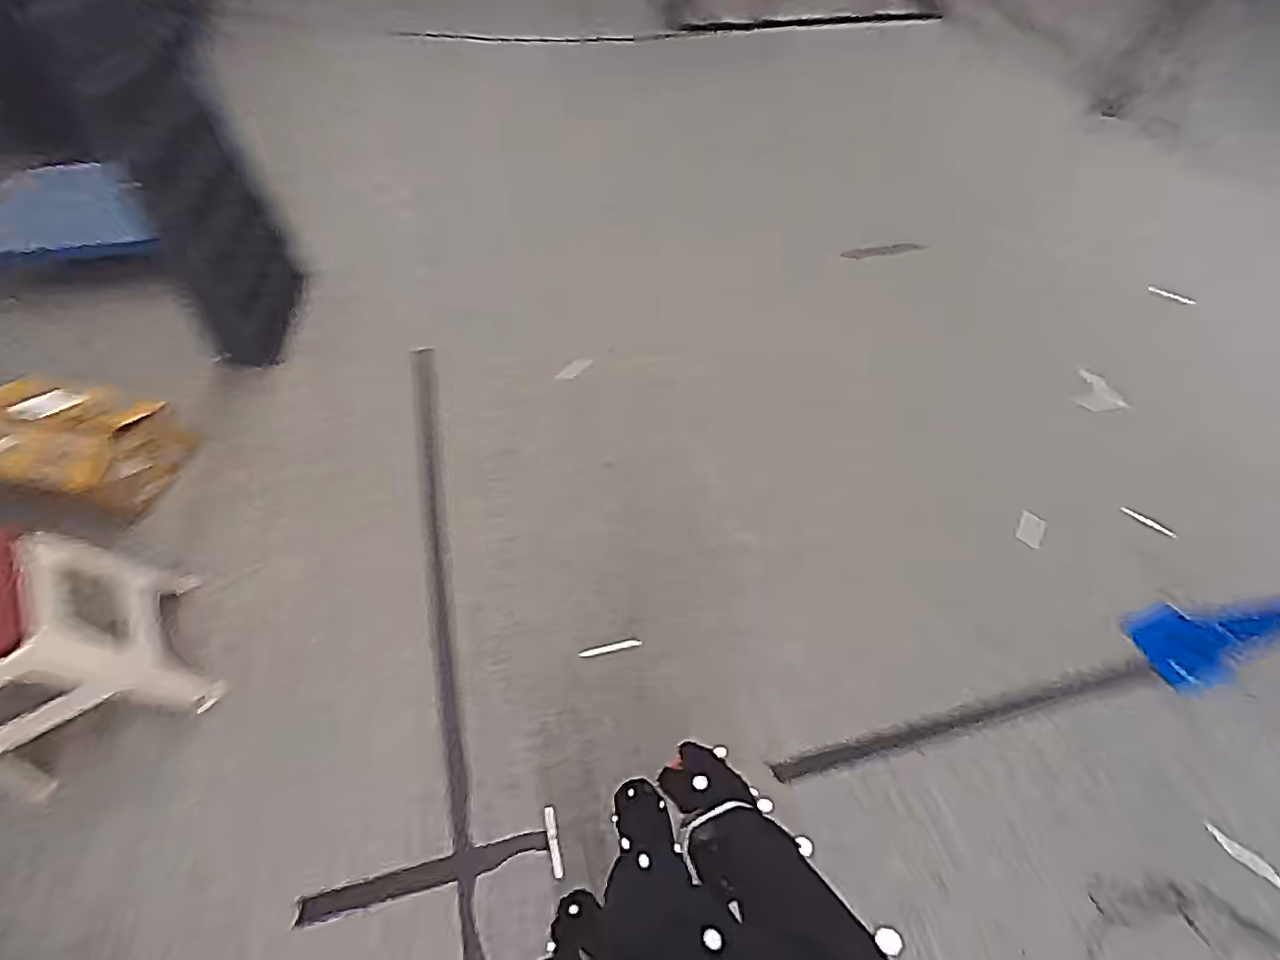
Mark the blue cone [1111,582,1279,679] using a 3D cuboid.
[{"bbox_3d":[1.466,0.360,1.387,0.193,0.380,0.192,-14,58,-13],"label":"blue cone"}]
